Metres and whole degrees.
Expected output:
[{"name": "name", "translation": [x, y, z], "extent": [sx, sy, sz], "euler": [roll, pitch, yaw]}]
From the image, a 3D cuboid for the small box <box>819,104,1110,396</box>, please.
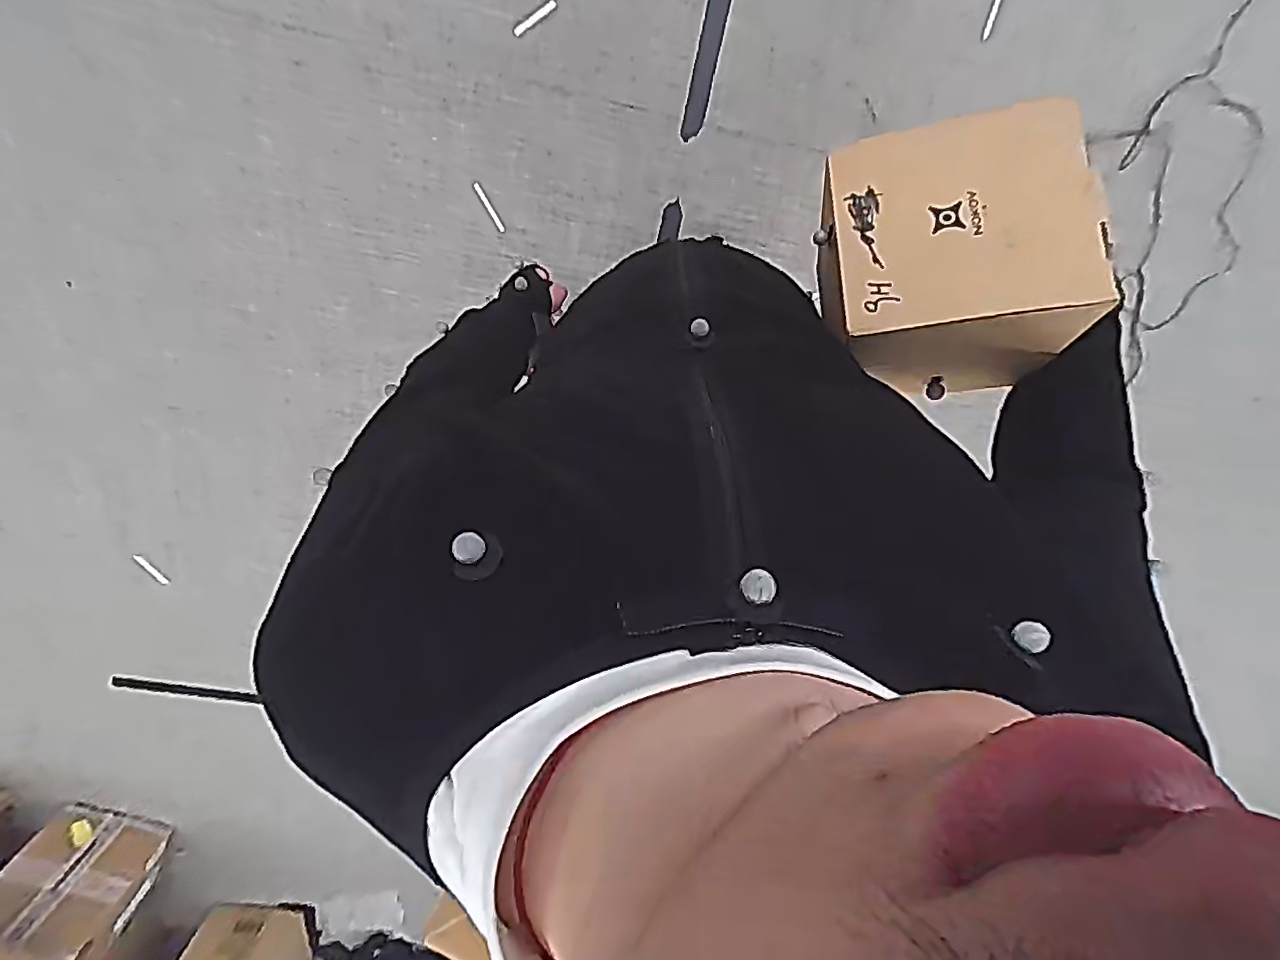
[{"name": "small box", "translation": [0.265, -0.186, 0.491], "extent": [0.179, 0.176, 0.168], "euler": [-4, 78, 14]}]
